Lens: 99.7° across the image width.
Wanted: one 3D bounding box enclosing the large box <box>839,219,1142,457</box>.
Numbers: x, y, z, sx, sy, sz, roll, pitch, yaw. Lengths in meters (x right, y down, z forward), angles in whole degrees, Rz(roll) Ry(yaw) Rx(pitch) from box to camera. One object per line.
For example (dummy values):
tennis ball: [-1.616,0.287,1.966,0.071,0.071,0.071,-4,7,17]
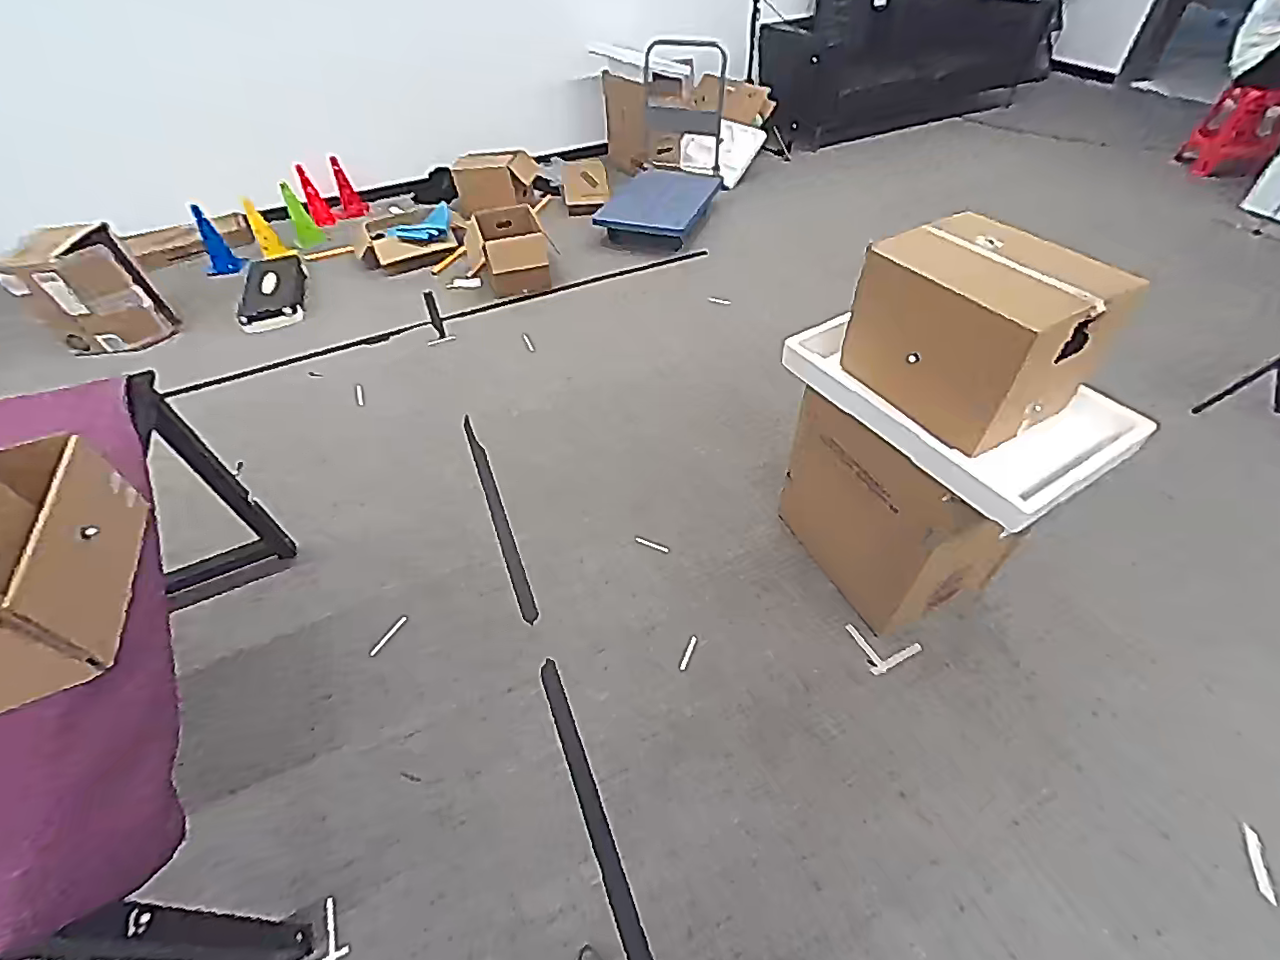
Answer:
large box: [0.717,-0.320,1.186,0.320,0.320,0.408,-23,48,-17]
